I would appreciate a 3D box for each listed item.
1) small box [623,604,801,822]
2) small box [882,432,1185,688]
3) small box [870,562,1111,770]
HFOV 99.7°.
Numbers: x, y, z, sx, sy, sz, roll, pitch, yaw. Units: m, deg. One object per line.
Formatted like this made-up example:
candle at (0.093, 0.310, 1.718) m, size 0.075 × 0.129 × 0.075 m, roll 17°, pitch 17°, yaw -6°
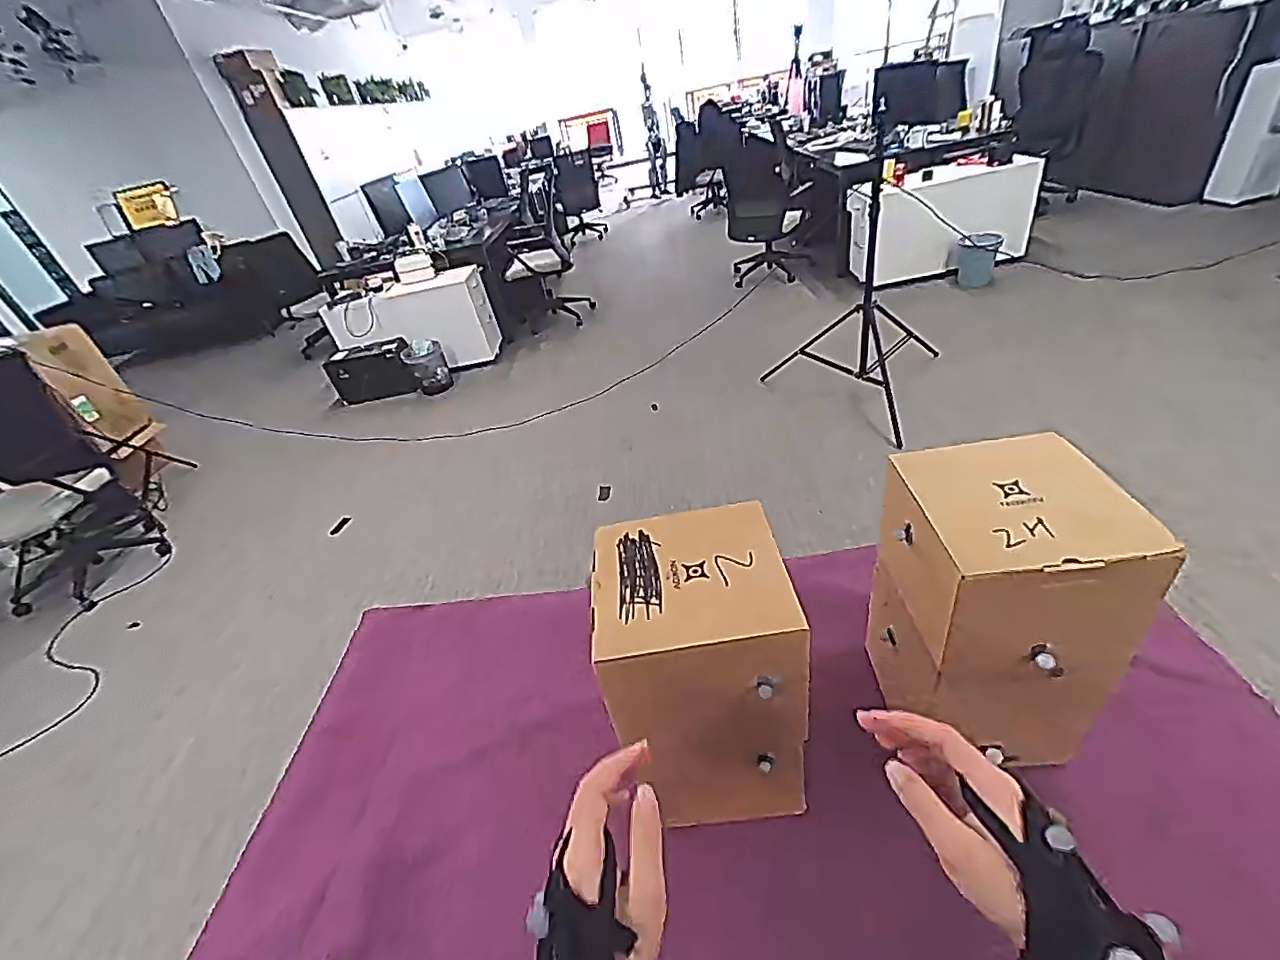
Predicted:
small box at (0.082, 0.274, 0.635) m, size 0.179 × 0.176 × 0.168 m, roll -9°, pitch 35°, yaw 4°
small box at (0.351, 0.077, 0.533) m, size 0.168 × 0.176 × 0.179 m, roll -8°, pitch 36°, yaw 8°
small box at (0.378, 0.208, 0.629) m, size 0.168 × 0.176 × 0.179 m, roll -8°, pitch 36°, yaw 8°
